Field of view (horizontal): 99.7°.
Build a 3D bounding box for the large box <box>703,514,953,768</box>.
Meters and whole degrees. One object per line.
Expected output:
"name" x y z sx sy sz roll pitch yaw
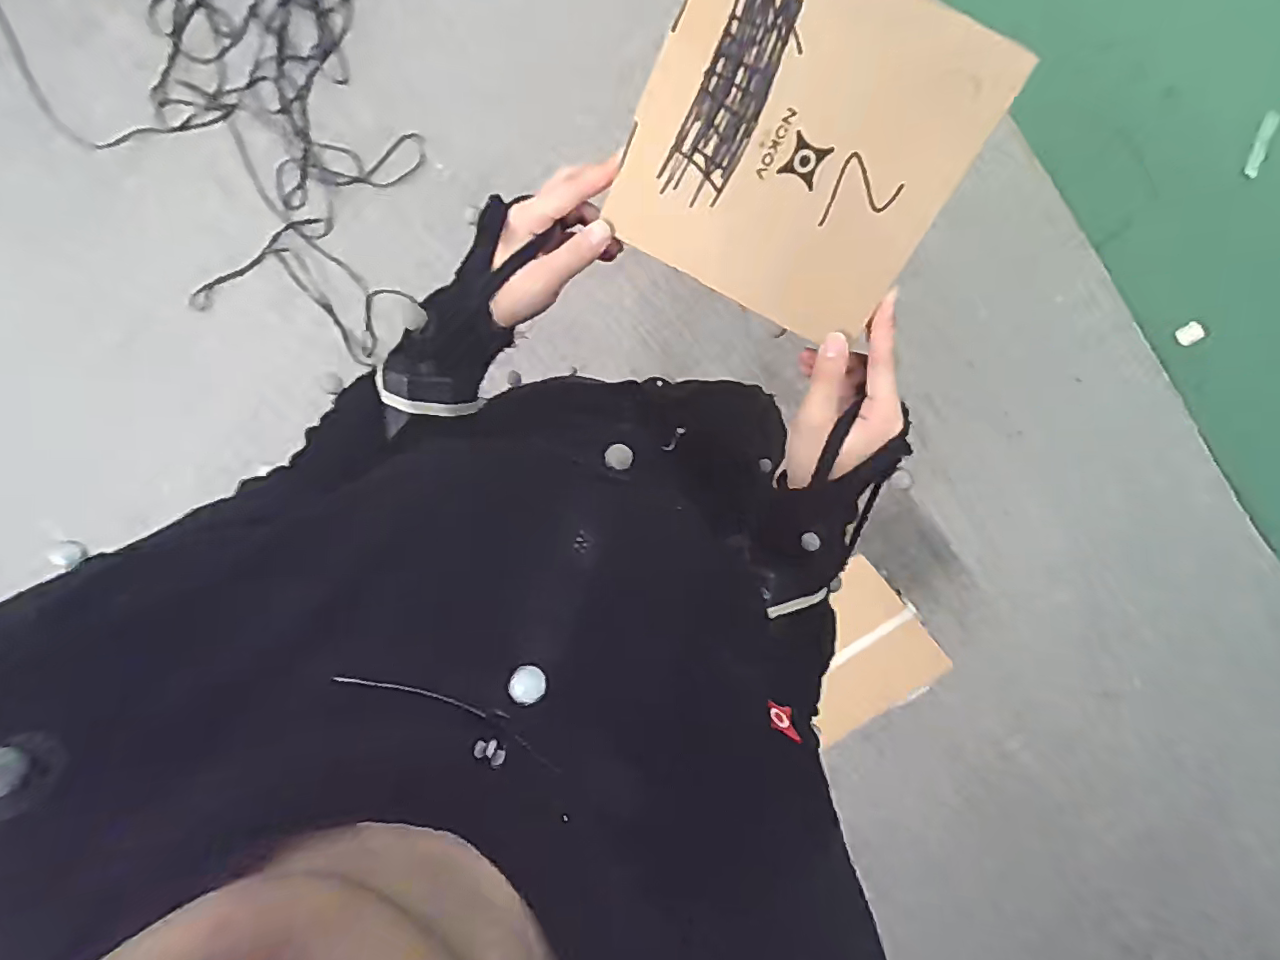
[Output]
"large box" 0.392 0.347 1.239 0.408 0.320 0.320 -40 95 13
